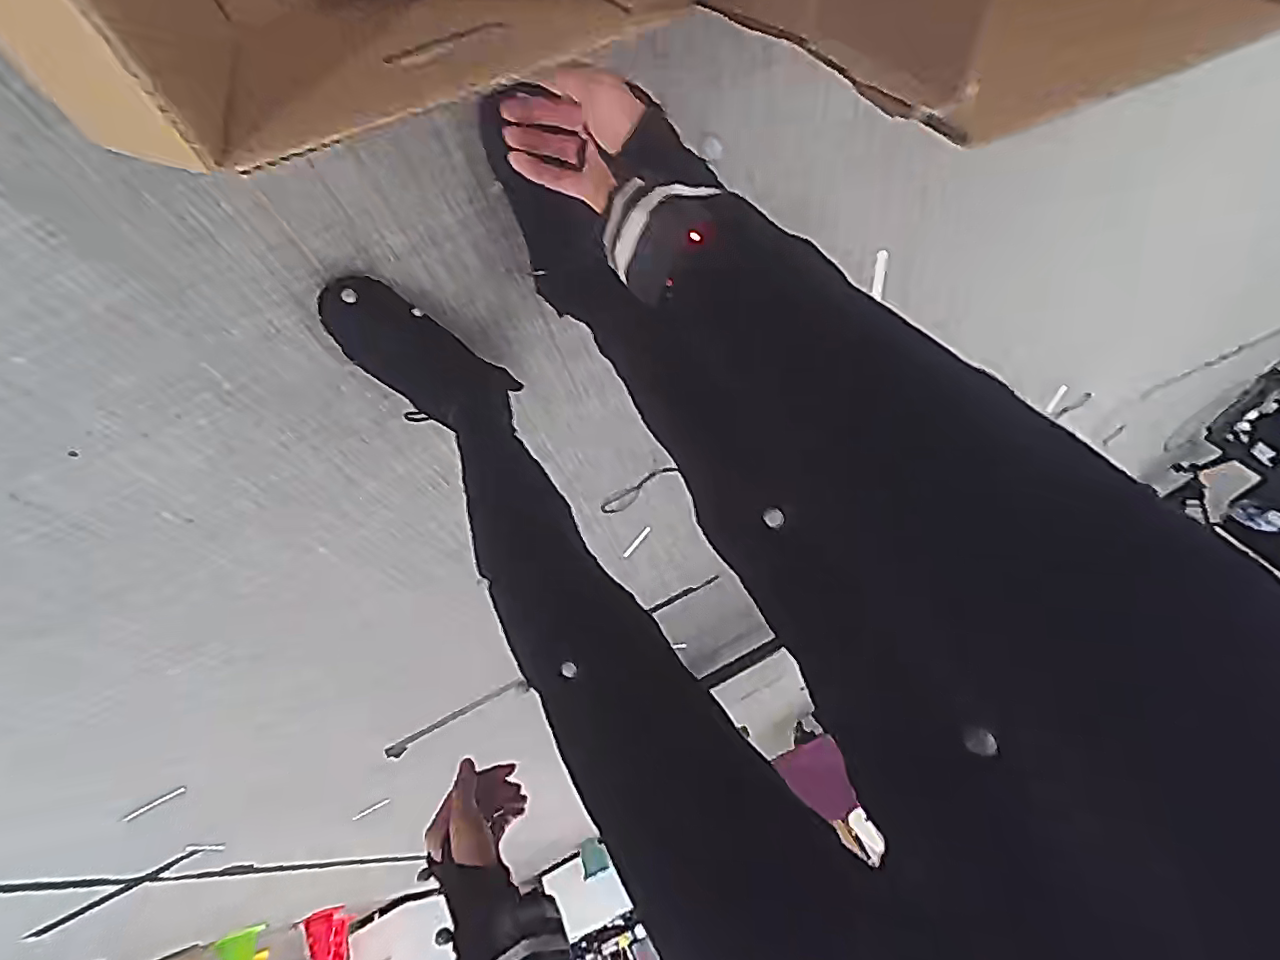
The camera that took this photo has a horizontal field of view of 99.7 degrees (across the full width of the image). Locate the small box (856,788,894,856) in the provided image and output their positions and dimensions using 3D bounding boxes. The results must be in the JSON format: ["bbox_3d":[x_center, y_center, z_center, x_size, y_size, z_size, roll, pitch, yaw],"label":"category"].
[{"bbox_3d":[0.975,1.327,2.105,0.179,0.176,0.168,-28,144,-2],"label":"small box"}]

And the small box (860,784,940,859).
[{"bbox_3d":[0.910,1.202,1.909,0.179,0.176,0.168,-27,144,-4],"label":"small box"}]
